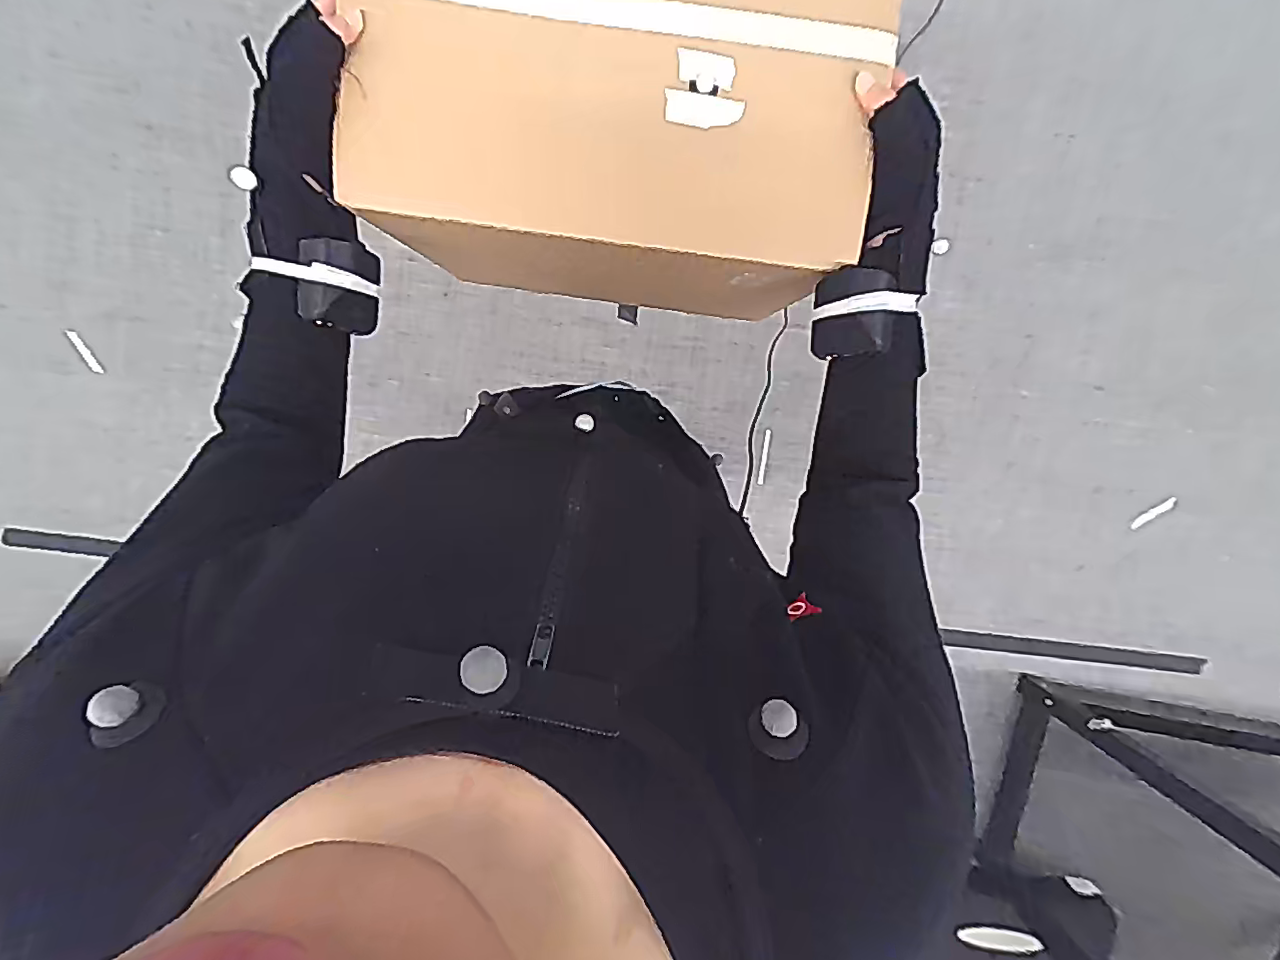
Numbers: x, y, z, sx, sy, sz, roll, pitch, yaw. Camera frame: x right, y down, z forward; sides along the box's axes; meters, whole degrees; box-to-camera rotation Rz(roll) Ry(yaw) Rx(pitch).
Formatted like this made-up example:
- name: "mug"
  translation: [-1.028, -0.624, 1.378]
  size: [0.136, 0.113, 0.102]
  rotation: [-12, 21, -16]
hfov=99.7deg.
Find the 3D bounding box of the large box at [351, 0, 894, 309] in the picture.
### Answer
- name: "large box"
  translation: [-0.017, -0.372, 0.547]
  size: [0.408, 0.320, 0.320]
  rotation: [6, 101, -3]
